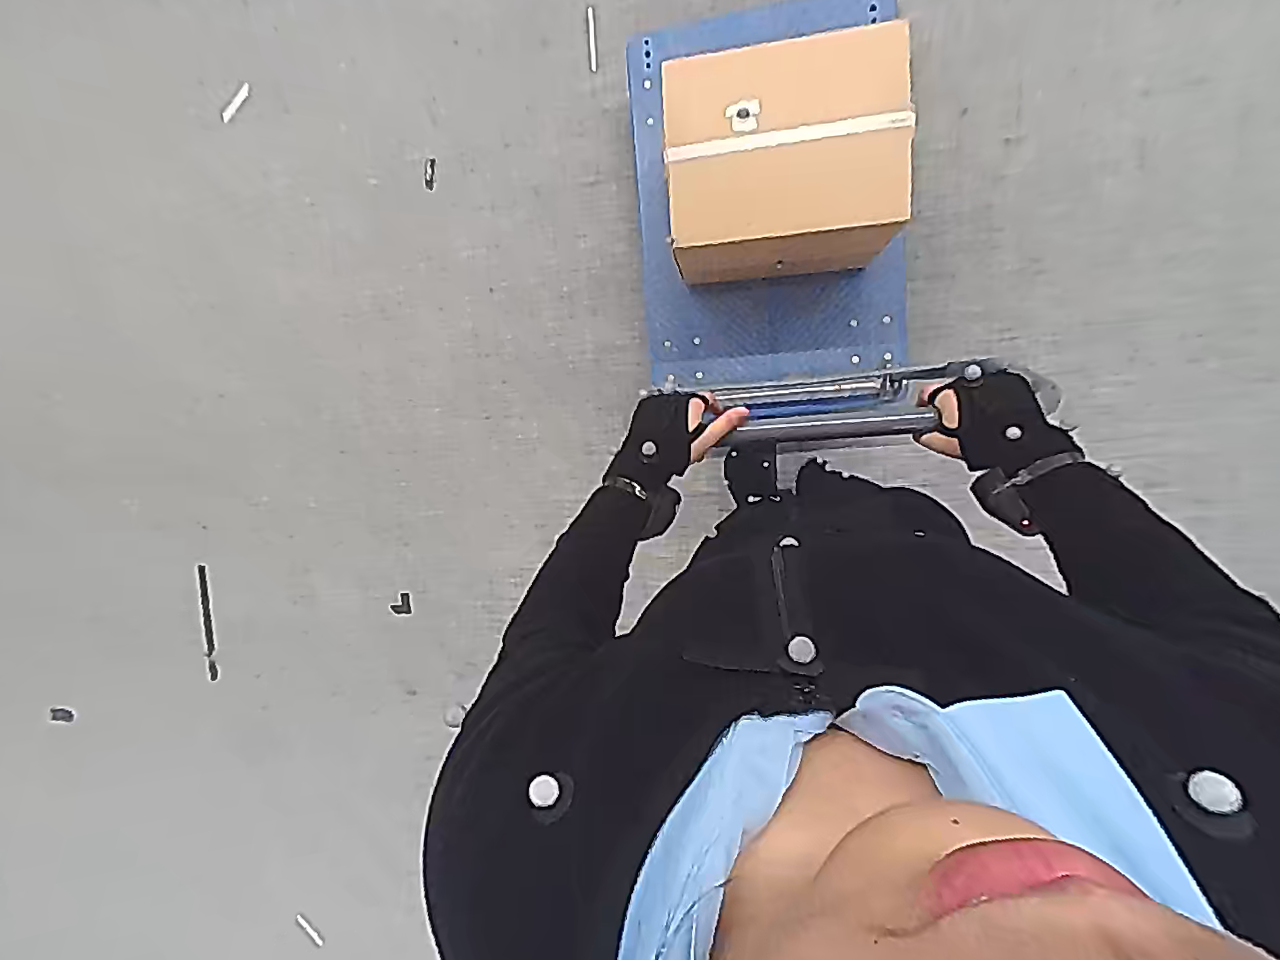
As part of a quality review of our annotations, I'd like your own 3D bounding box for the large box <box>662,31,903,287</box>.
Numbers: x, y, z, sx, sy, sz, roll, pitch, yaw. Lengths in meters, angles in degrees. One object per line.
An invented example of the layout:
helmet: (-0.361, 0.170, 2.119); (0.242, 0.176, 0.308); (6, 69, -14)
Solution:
large box: (0.273, -0.598, 1.089); (0.408, 0.320, 0.320); (-3, 96, 11)
